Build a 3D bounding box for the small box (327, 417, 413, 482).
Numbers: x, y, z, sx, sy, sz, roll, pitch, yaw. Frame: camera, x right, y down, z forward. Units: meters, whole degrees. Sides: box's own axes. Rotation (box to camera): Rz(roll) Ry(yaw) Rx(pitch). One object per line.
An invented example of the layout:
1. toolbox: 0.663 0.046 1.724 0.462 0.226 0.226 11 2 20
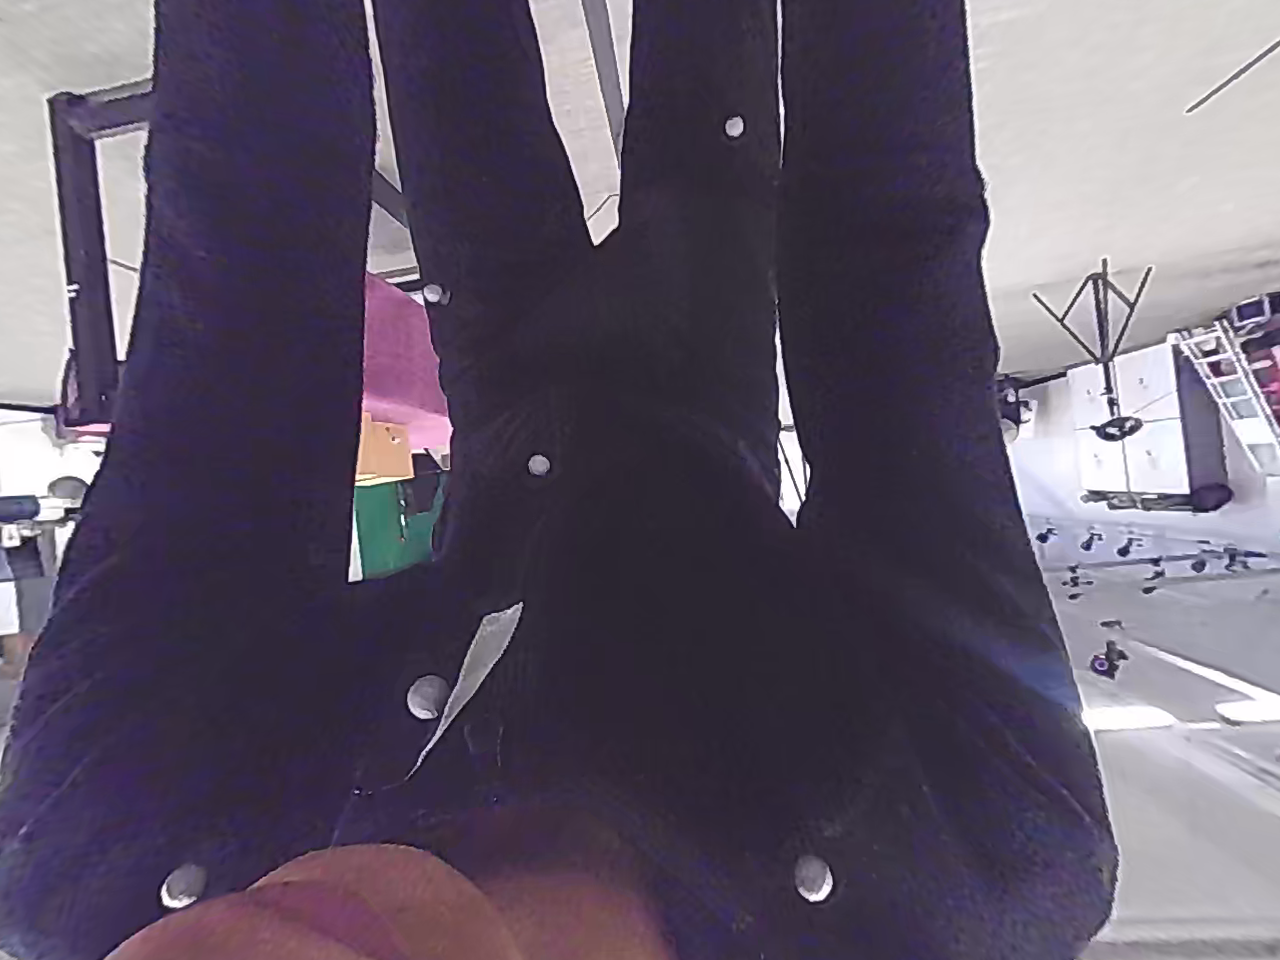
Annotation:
1. small box: -0.818 -0.089 1.636 0.179 0.176 0.168 -8 180 11
